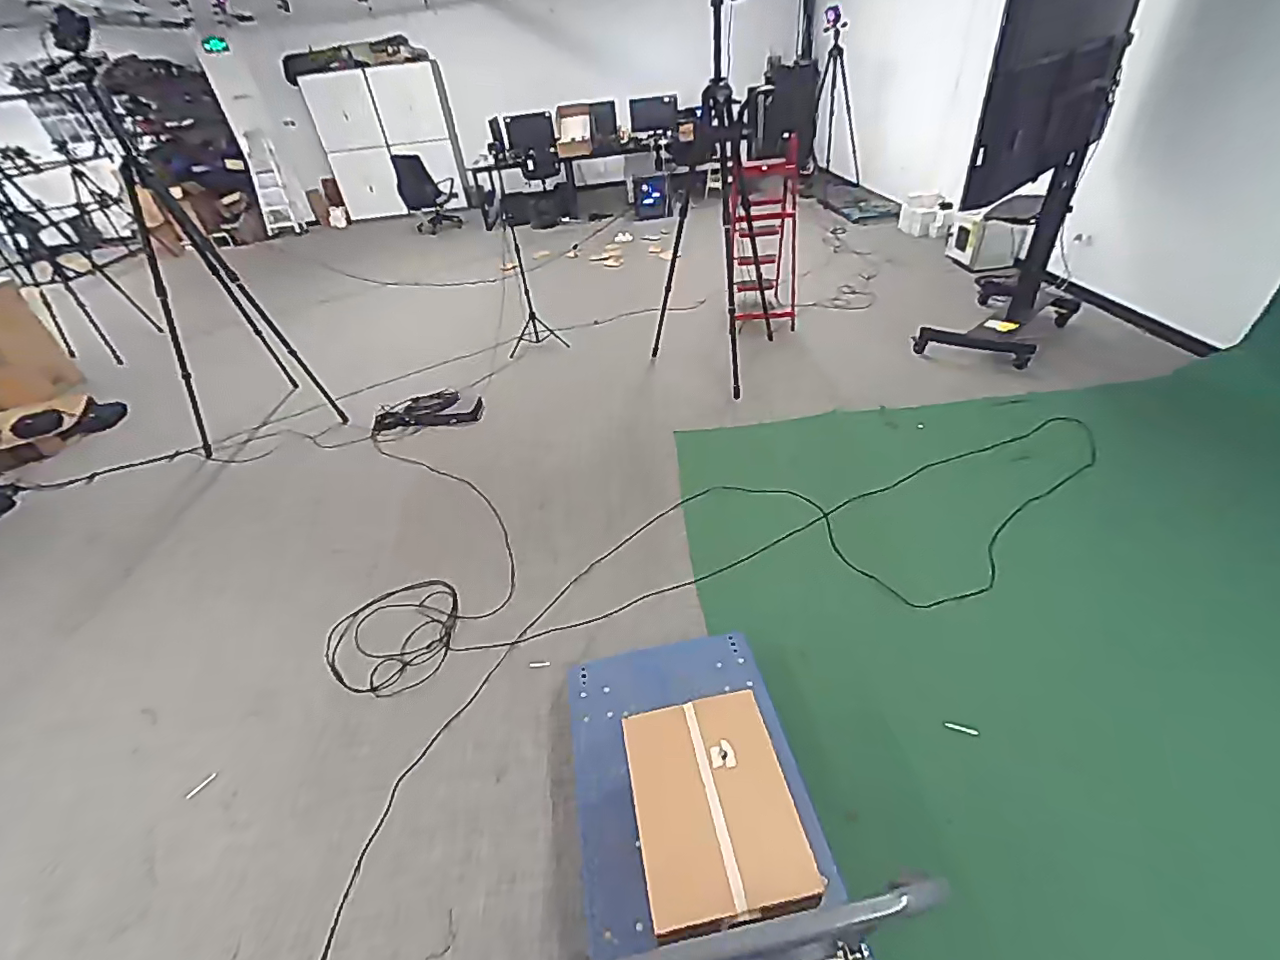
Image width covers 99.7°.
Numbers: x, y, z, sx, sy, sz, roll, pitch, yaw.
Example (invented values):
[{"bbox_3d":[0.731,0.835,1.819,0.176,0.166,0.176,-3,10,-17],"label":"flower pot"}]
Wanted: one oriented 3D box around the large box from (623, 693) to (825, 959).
[{"bbox_3d":[0.164,0.760,1.188,0.320,0.320,0.408,-11,37,-5],"label":"large box"}]
